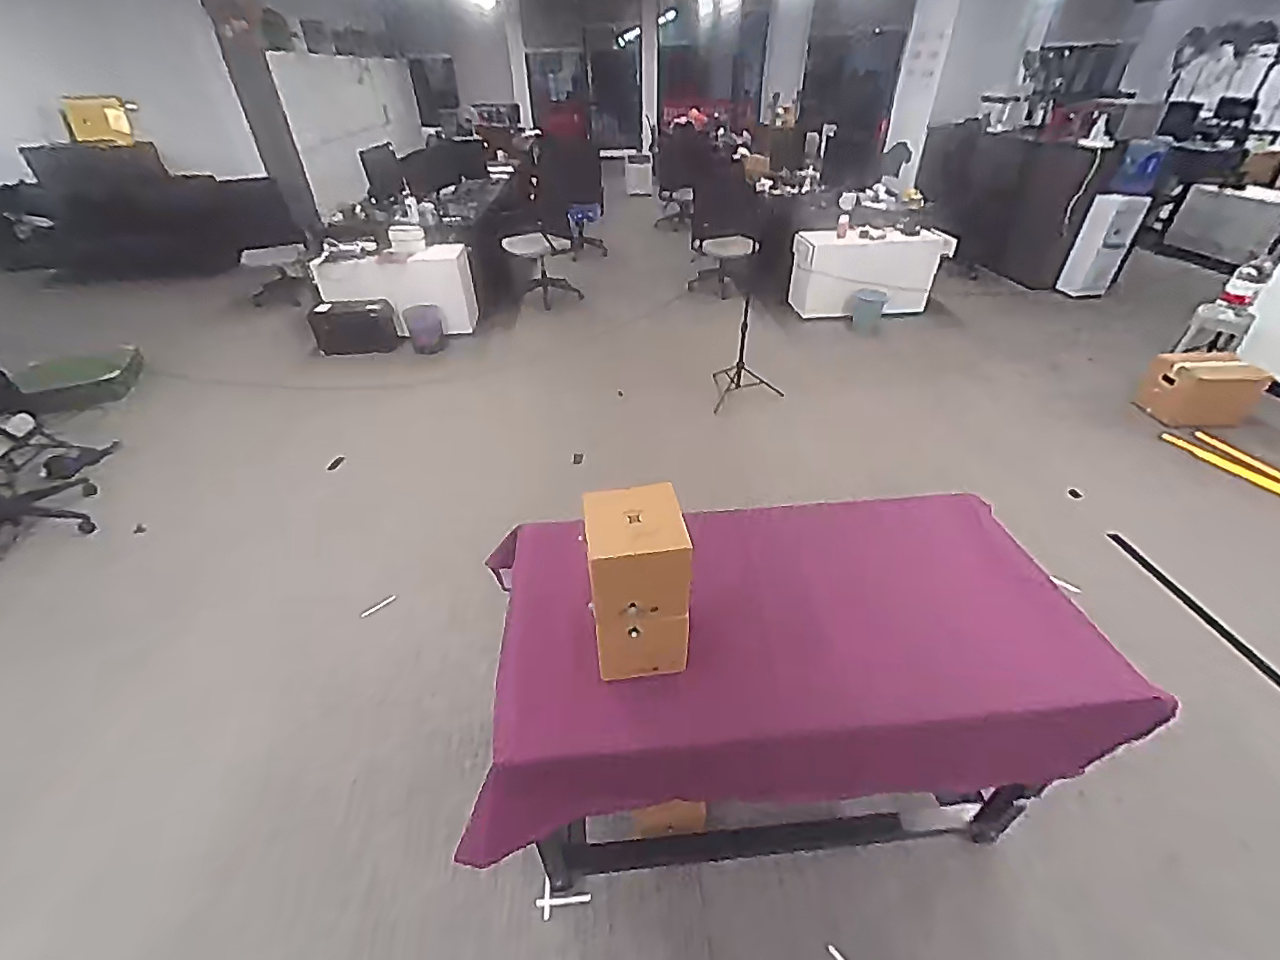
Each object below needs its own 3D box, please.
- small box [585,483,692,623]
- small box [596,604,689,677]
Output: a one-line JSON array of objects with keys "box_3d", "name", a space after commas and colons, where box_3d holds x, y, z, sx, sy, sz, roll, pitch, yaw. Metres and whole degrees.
[{"box_3d": [-0.009, 0.126, 0.961, 0.168, 0.176, 0.179, -5, 38, -6], "name": "small box"}, {"box_3d": [-0.003, 0.258, 1.059, 0.168, 0.176, 0.179, -4, 37, -5], "name": "small box"}]
